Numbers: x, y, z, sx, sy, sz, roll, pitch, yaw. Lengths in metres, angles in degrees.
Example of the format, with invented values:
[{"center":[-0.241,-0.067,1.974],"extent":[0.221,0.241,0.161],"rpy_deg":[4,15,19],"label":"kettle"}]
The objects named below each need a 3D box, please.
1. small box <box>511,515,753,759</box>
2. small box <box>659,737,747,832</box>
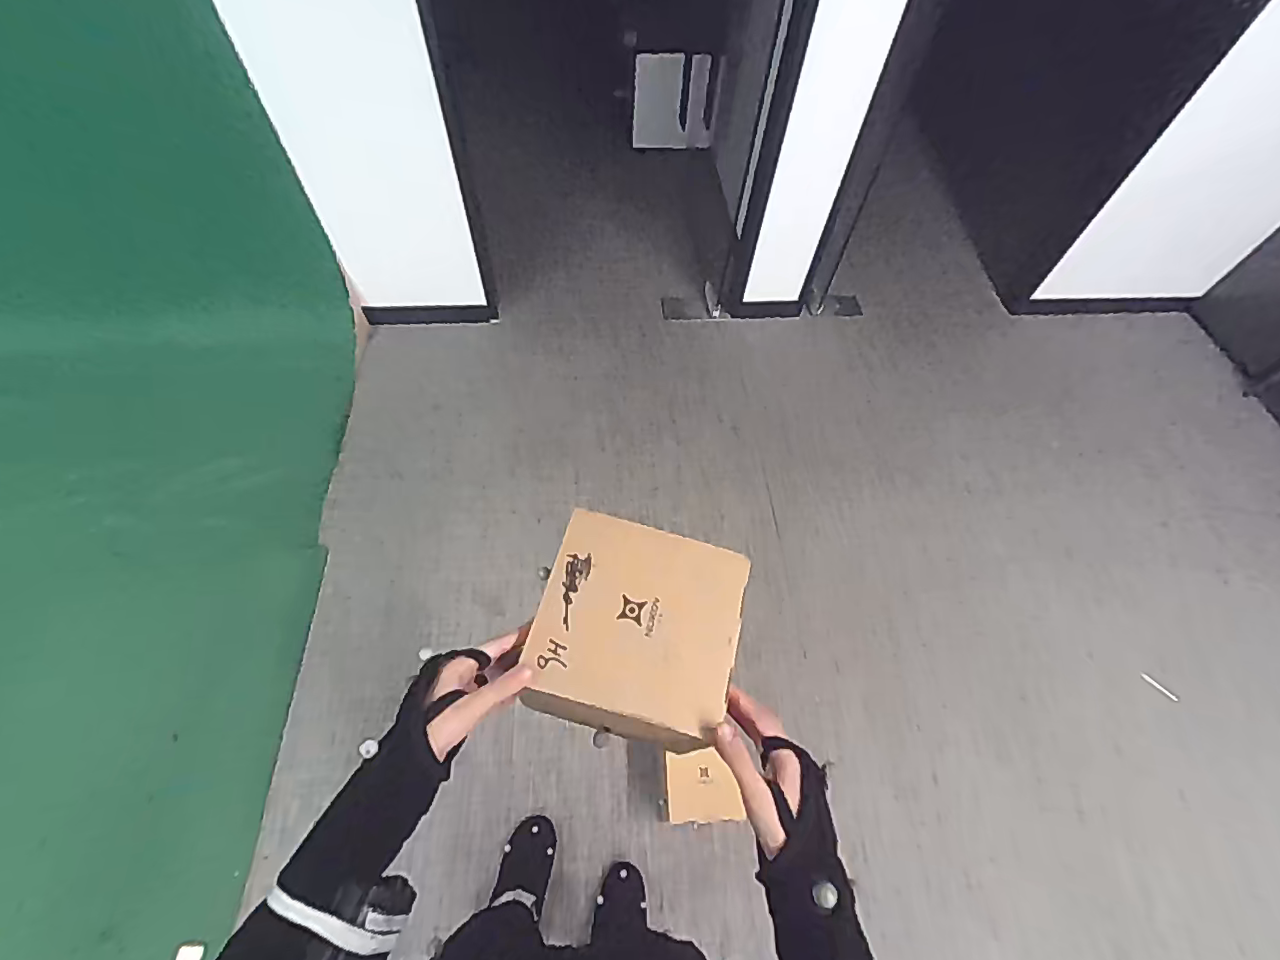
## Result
[{"center":[-0.009,0.162,0.531],"extent":[0.179,0.176,0.168],"rpy_deg":[17,58,1],"label":"small box"},{"center":[0.134,0.692,1.227],"extent":[0.168,0.176,0.179],"rpy_deg":[0,59,-3],"label":"small box"}]
